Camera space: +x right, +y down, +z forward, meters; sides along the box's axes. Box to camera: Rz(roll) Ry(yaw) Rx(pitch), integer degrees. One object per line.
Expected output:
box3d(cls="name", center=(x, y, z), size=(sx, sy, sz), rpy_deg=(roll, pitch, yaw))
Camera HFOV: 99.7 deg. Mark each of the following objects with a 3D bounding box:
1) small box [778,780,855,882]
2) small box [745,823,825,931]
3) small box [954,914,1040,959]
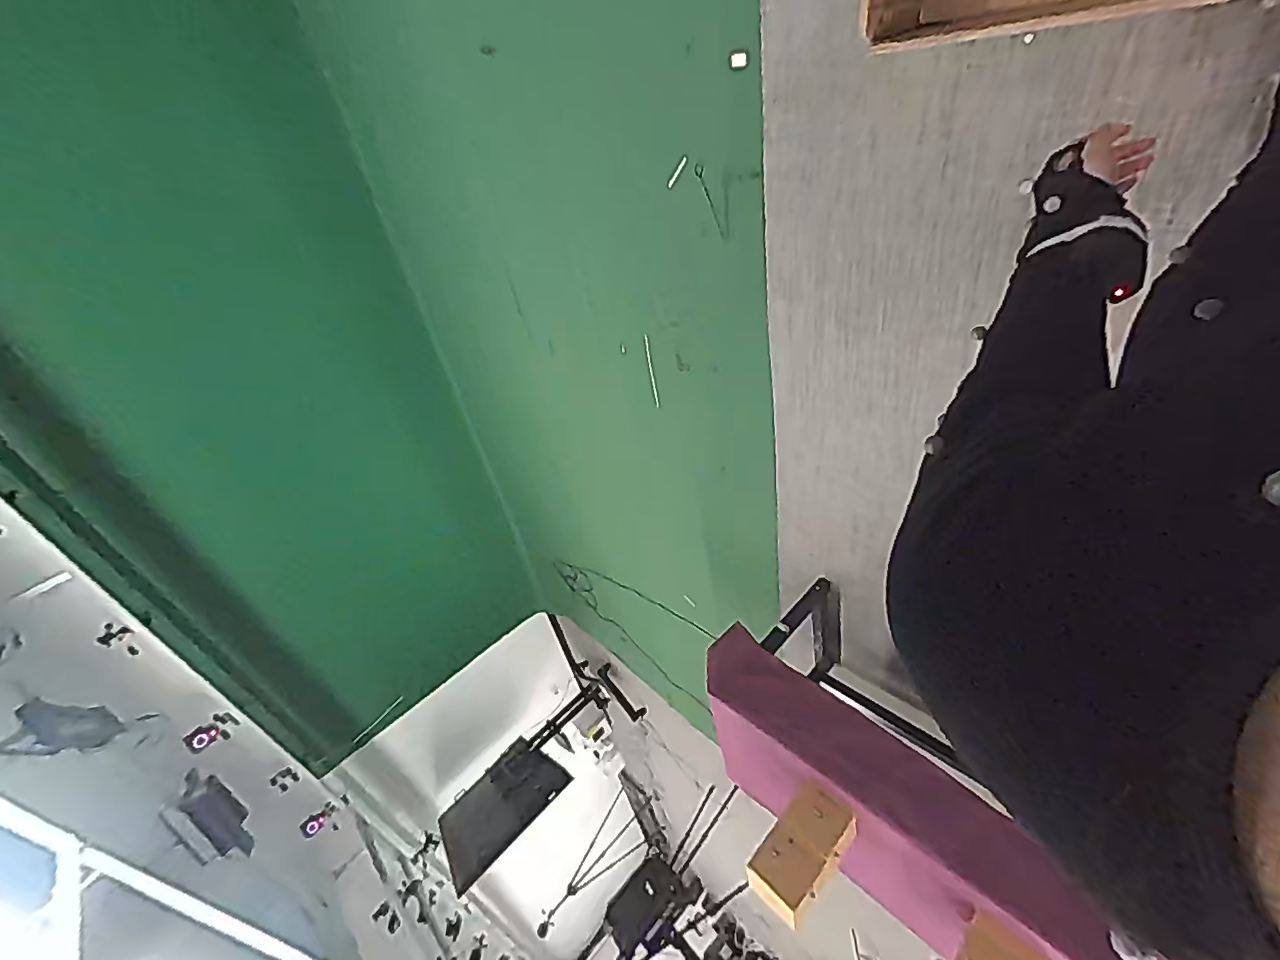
box3d(cls="small box", center=(0.547, 1.079, 1.673), size=(0.168, 0.176, 0.179), rpy_deg=(26, 140, 43))
box3d(cls="small box", center=(0.430, 1.164, 1.598), size=(0.168, 0.176, 0.179), rpy_deg=(27, 142, 41))
box3d(cls="small box", center=(0.883, 1.234, 1.331), size=(0.179, 0.176, 0.168), rpy_deg=(23, 139, 46))
